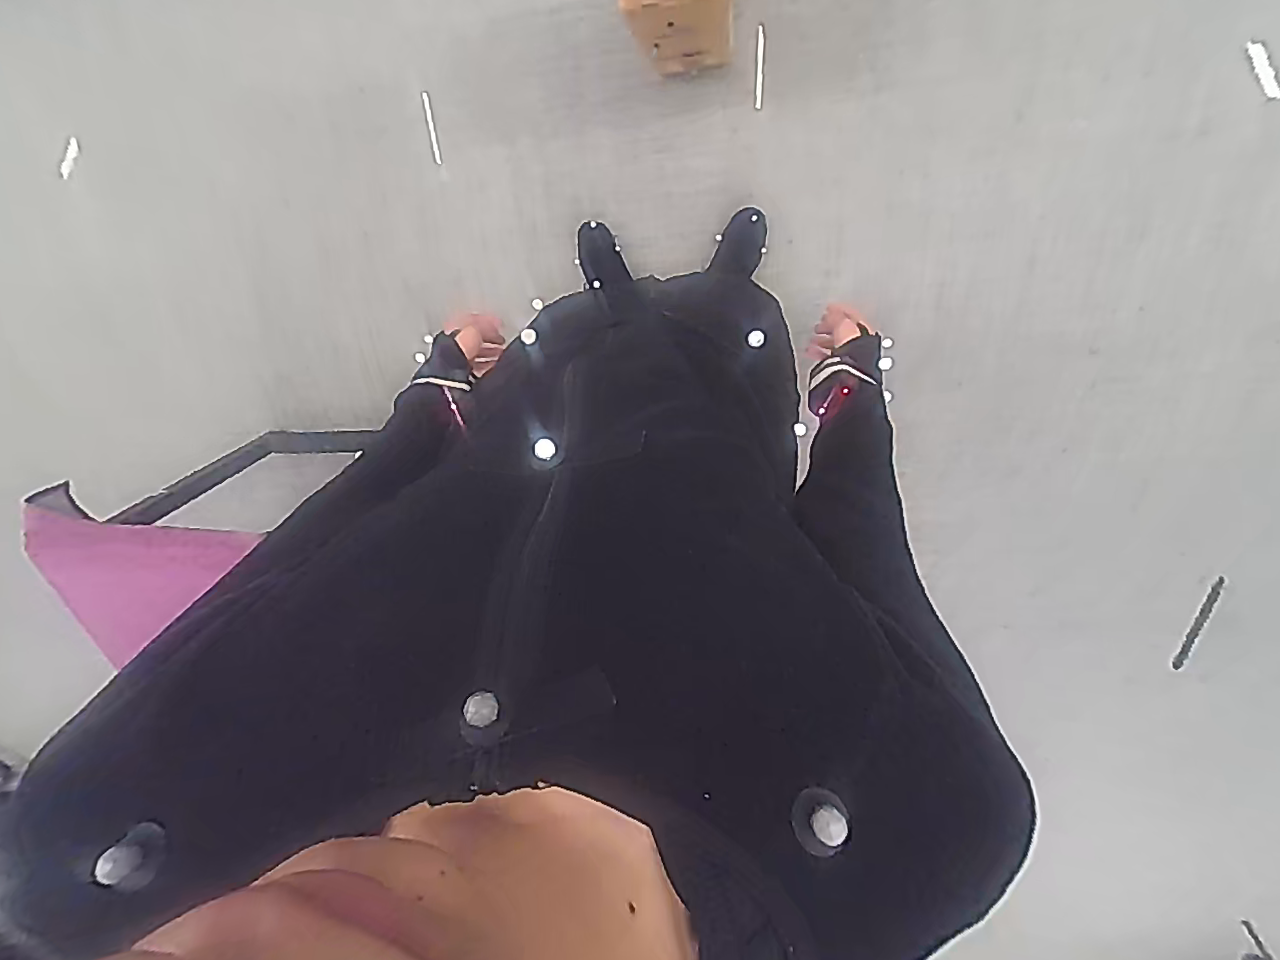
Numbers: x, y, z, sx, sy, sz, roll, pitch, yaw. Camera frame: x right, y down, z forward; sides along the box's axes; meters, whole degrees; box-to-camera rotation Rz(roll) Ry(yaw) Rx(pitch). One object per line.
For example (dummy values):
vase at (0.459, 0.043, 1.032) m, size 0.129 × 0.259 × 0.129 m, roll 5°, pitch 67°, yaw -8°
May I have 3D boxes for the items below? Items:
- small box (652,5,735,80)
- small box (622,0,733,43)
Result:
small box at (0.108, -0.958, 1.118) m, size 0.168 × 0.176 × 0.179 m, roll -3°, pitch 119°, yaw 10°
small box at (0.058, -0.808, 0.831) m, size 0.168 × 0.176 × 0.179 m, roll 0°, pitch 119°, yaw 8°
